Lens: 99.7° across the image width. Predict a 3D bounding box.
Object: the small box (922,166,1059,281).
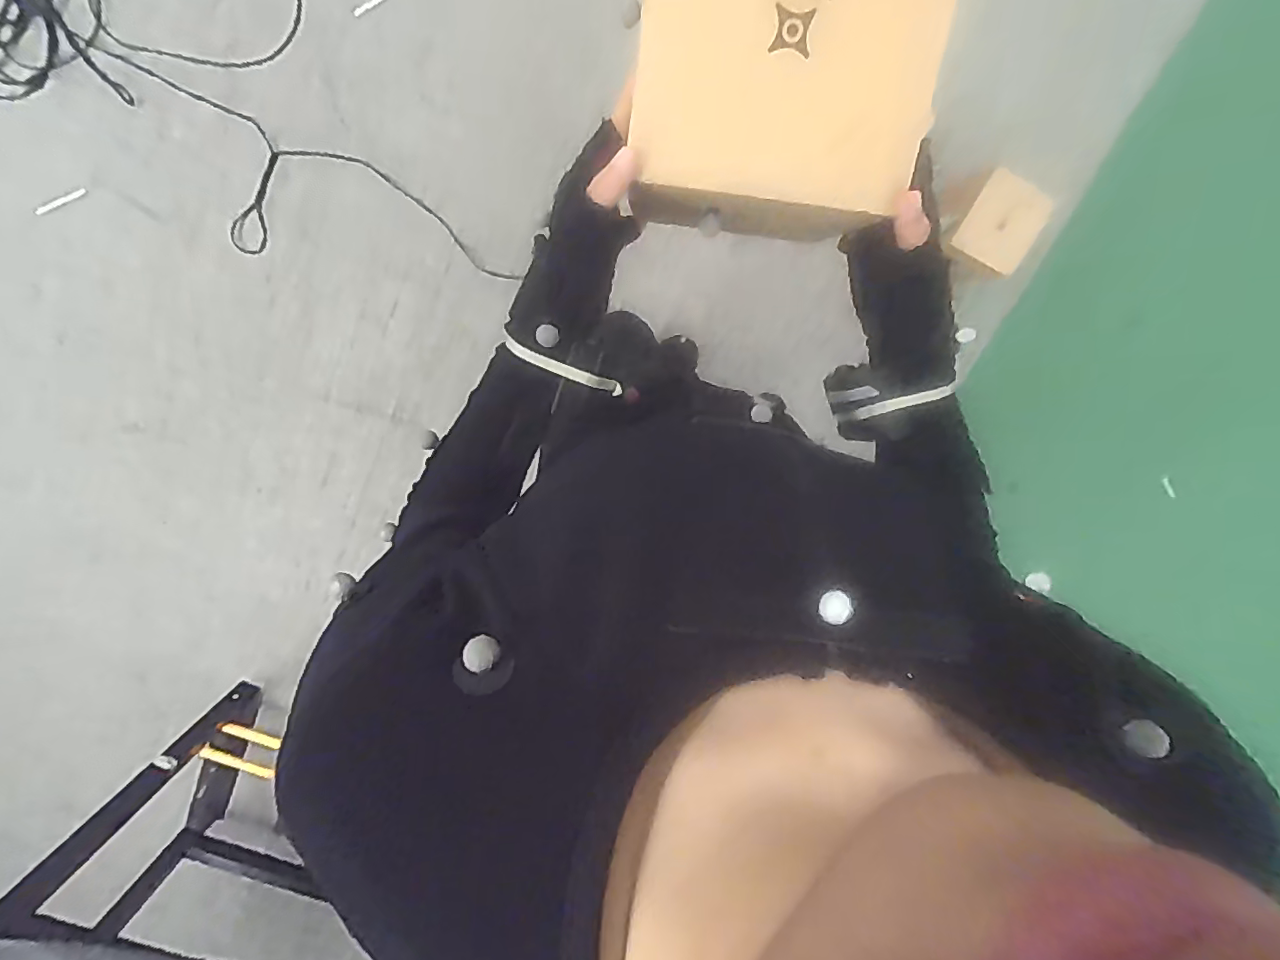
[{"bbox_3d":[0.792,-0.579,1.249,0.168,0.176,0.179,25,104,-8],"label":"small box"}]
